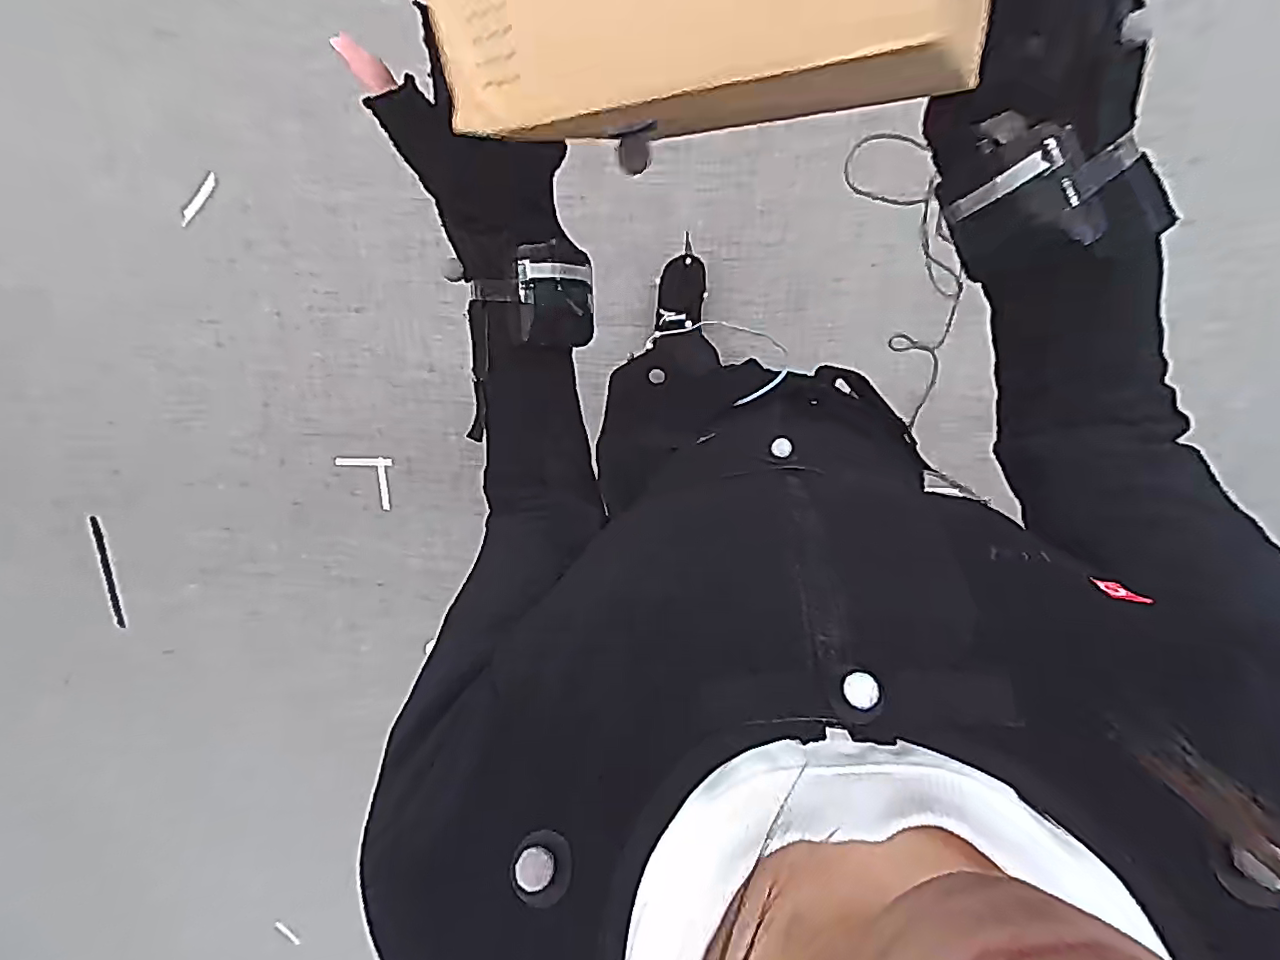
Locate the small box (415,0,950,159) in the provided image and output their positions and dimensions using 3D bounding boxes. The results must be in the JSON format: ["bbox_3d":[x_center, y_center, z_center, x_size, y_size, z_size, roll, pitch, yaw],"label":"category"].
[{"bbox_3d":[0.020,-0.234,0.202,0.176,0.168,0.179,10,123,30],"label":"small box"}]
